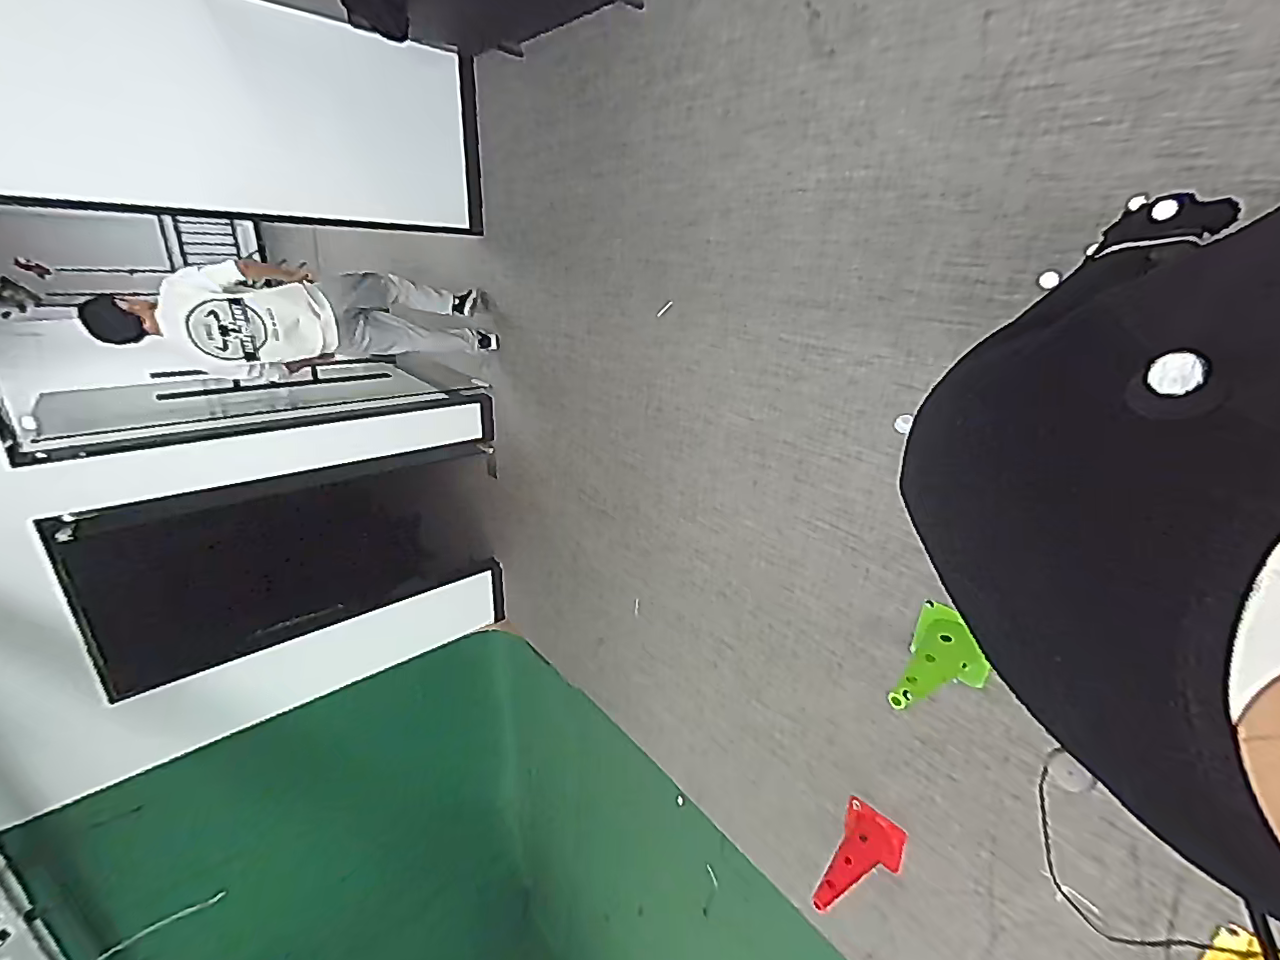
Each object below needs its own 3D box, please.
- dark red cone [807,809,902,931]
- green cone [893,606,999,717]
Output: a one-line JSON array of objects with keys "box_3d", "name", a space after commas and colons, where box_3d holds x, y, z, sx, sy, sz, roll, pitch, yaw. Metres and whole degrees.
[{"box_3d": [0.662, 1.287, 1.743, 0.202, 0.394, 0.201, 20, 118, 46], "name": "dark red cone"}, {"box_3d": [0.753, 0.513, 1.412, 0.202, 0.368, 0.200, 24, 120, 43], "name": "green cone"}]
